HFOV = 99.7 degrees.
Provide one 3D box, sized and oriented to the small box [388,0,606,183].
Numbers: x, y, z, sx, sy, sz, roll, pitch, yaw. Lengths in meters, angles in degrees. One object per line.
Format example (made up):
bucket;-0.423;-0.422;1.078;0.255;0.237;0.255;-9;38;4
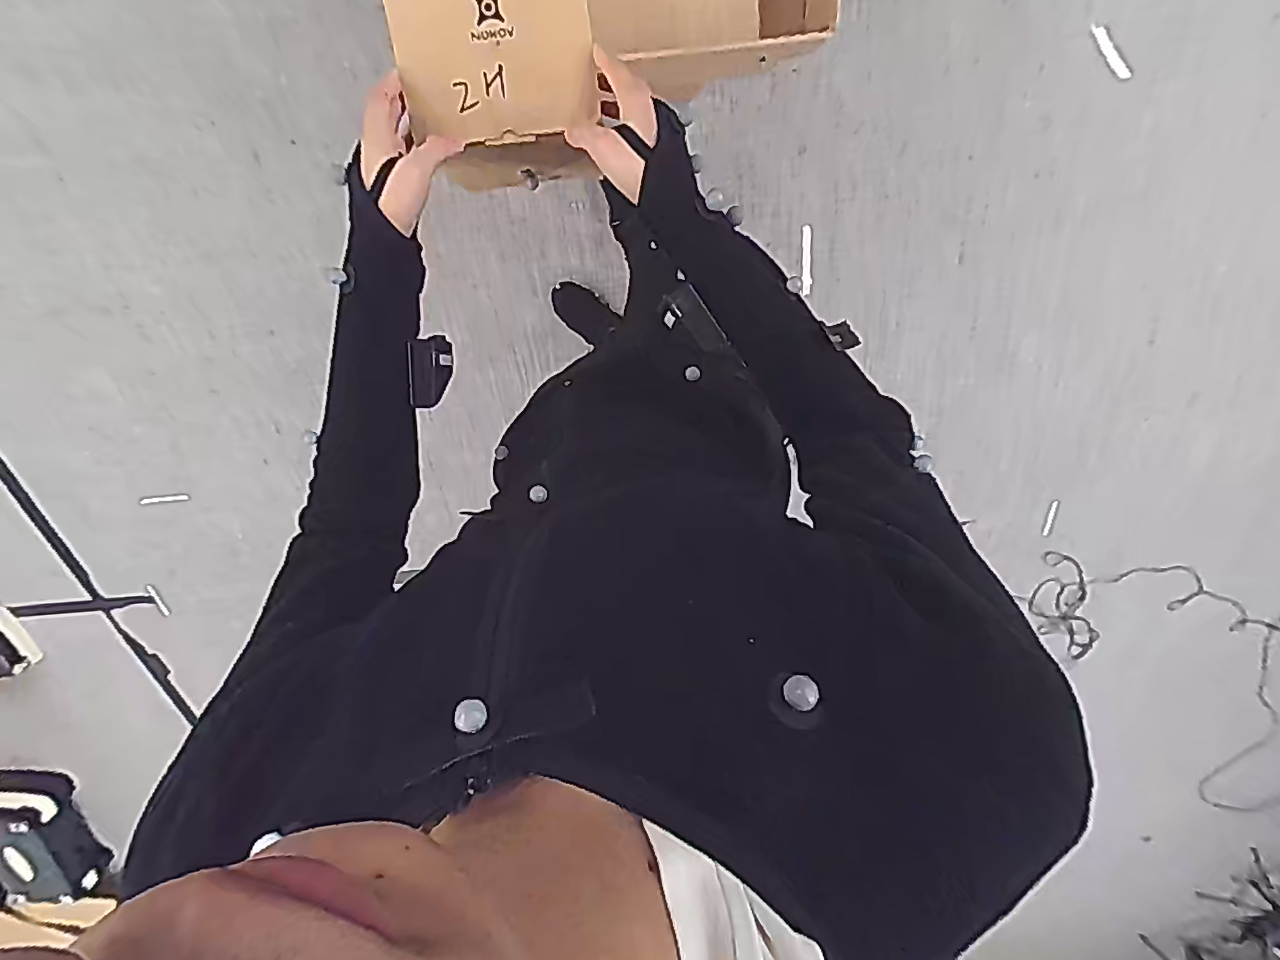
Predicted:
small box;-0.124;-0.404;0.513;0.168;0.176;0.179;-7;108;0
